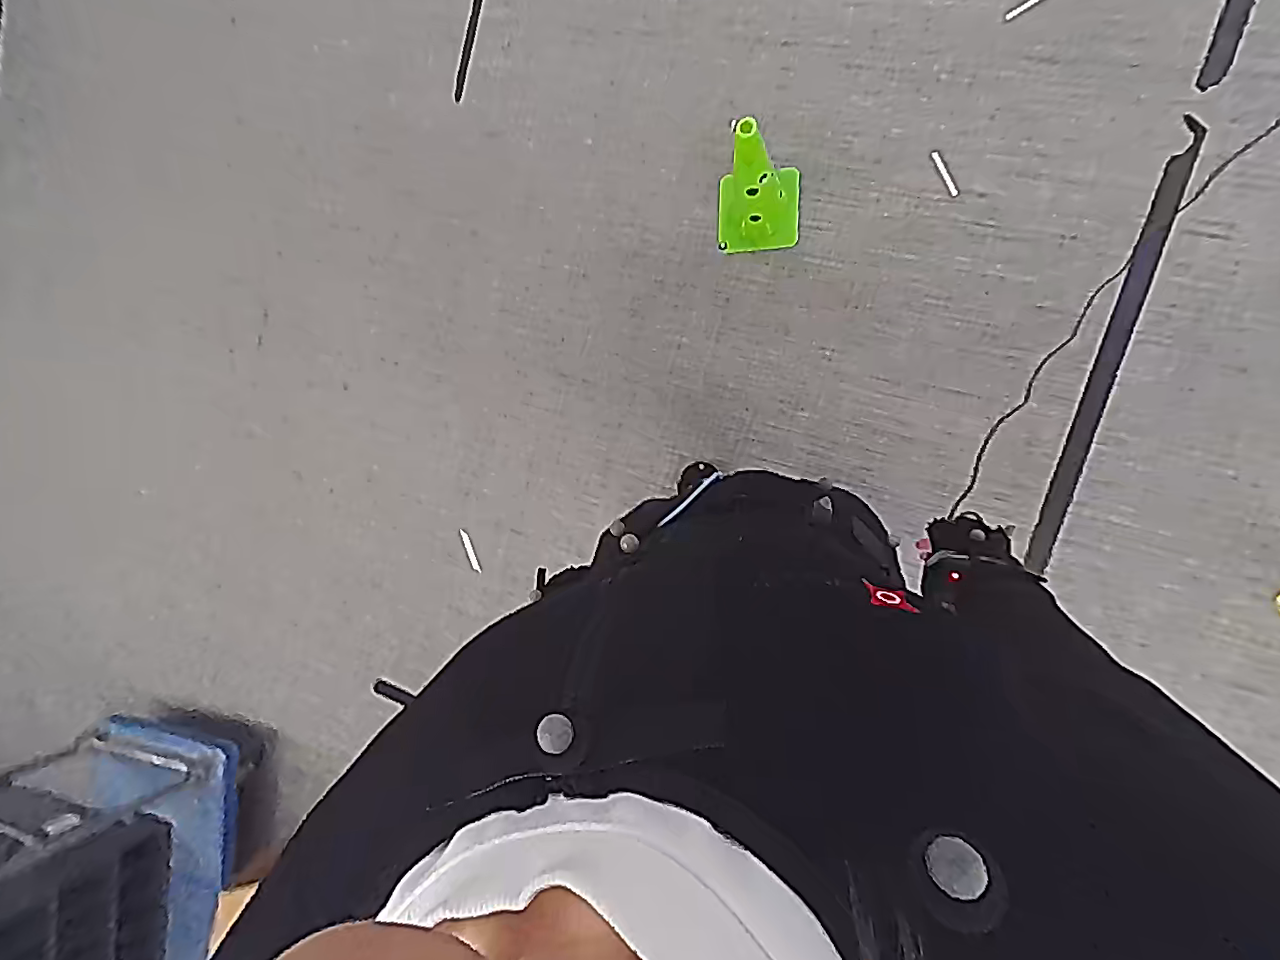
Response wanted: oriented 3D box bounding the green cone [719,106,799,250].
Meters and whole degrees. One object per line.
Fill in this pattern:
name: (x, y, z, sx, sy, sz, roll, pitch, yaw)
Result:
green cone: (0.257, -0.694, 1.213, 0.200, 0.368, 0.202, 0, 89, 15)
